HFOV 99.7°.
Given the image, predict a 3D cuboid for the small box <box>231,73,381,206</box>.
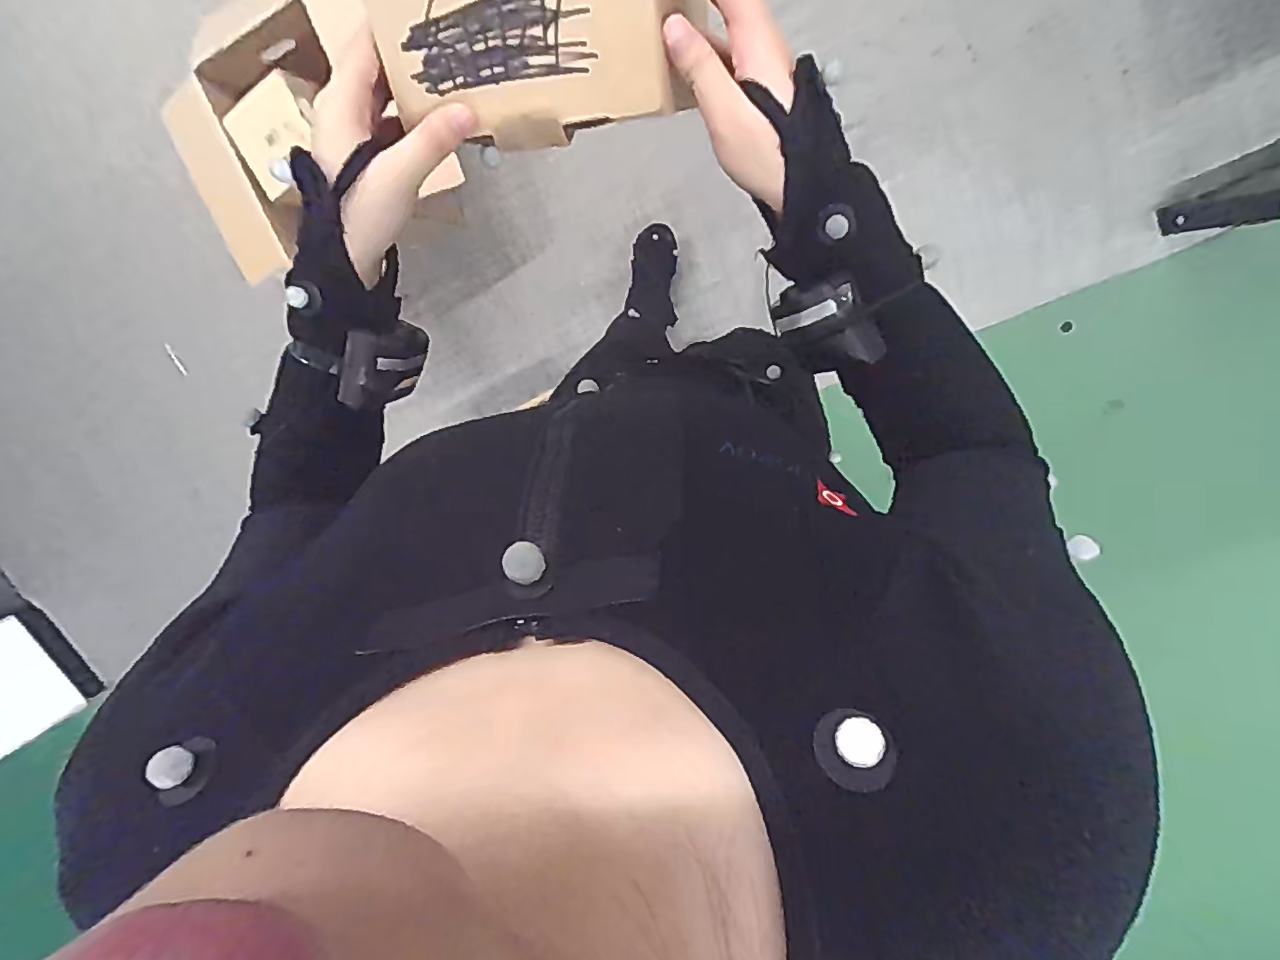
[{"bbox_3d":[-0.705,-0.713,1.160,0.179,0.176,0.168,-23,106,19],"label":"small box"}]
